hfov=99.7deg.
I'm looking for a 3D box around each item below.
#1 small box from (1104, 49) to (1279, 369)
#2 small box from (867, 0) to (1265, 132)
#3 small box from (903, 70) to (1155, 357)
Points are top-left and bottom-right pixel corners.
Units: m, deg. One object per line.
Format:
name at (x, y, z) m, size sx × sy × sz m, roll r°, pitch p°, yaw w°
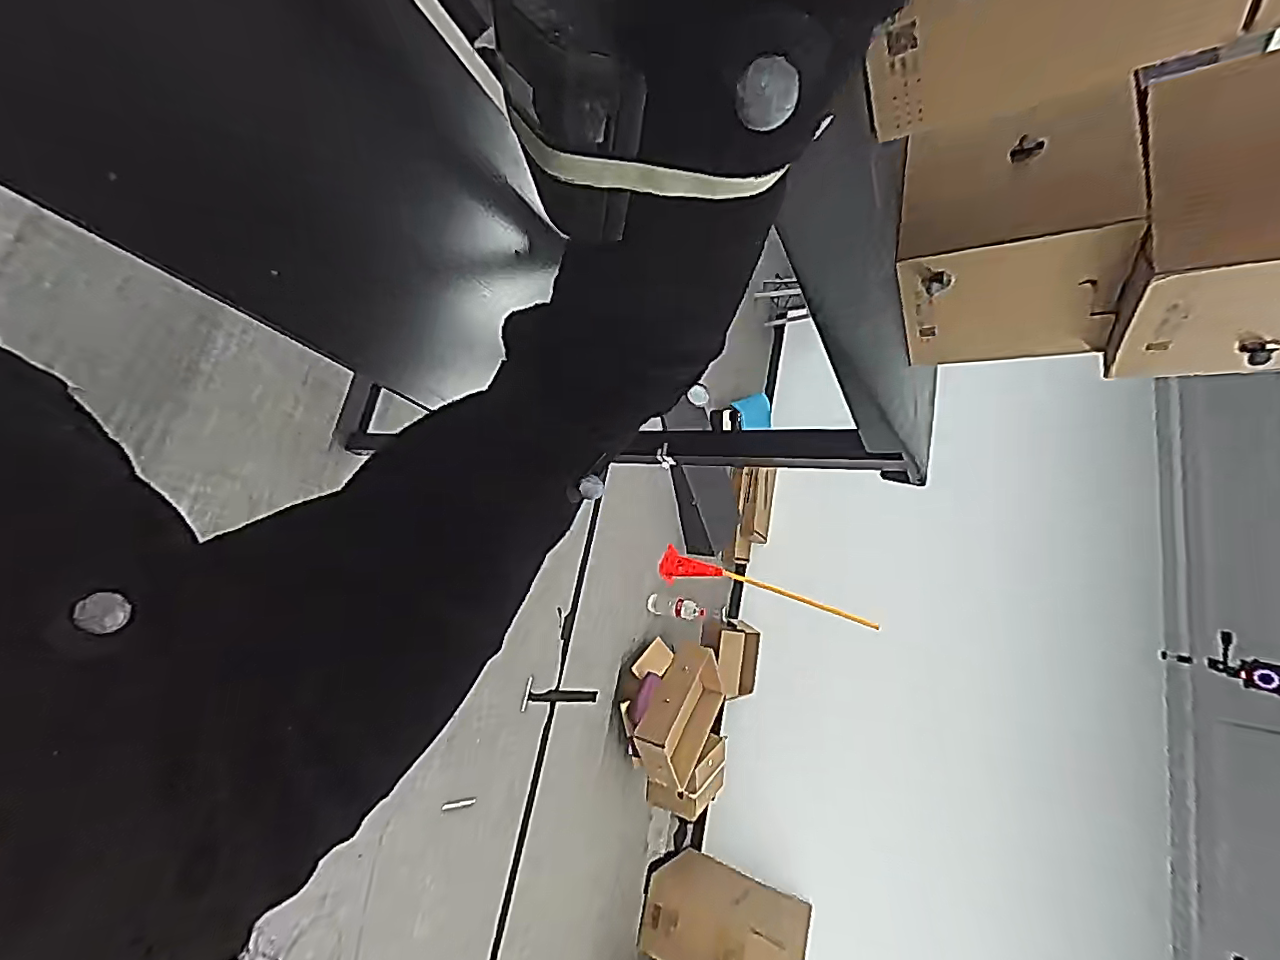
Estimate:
small box at (0.482, -0.200, 0.422) m, size 0.168 × 0.176 × 0.179 m, roll 31°, pitch 65°, yaw -57°
small box at (0.206, -0.326, 0.269) m, size 0.168 × 0.176 × 0.179 m, roll 34°, pitch 61°, yaw -53°
small box at (0.350, -0.235, 0.515) m, size 0.168 × 0.176 × 0.179 m, roll 40°, pitch 57°, yaw -53°
